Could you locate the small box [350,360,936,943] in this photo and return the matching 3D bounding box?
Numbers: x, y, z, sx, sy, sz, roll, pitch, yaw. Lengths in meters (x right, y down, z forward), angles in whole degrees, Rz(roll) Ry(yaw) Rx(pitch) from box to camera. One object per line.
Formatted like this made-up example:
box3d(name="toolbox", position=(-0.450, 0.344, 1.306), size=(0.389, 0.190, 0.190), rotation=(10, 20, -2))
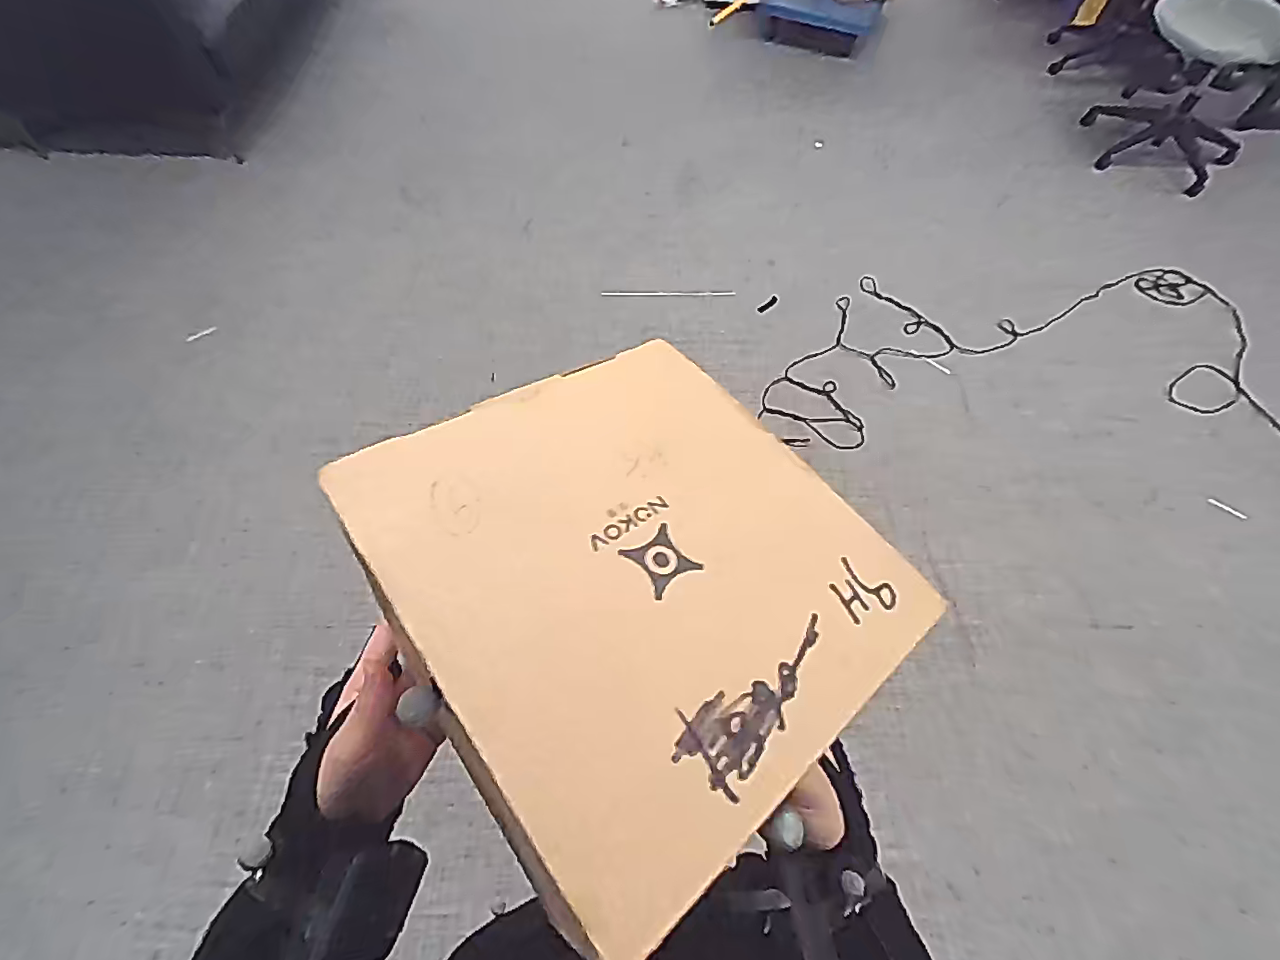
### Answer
box3d(name="small box", position=(-0.010, 0.077, 0.269), size=(0.168, 0.176, 0.179), rotation=(-30, 65, -30))
